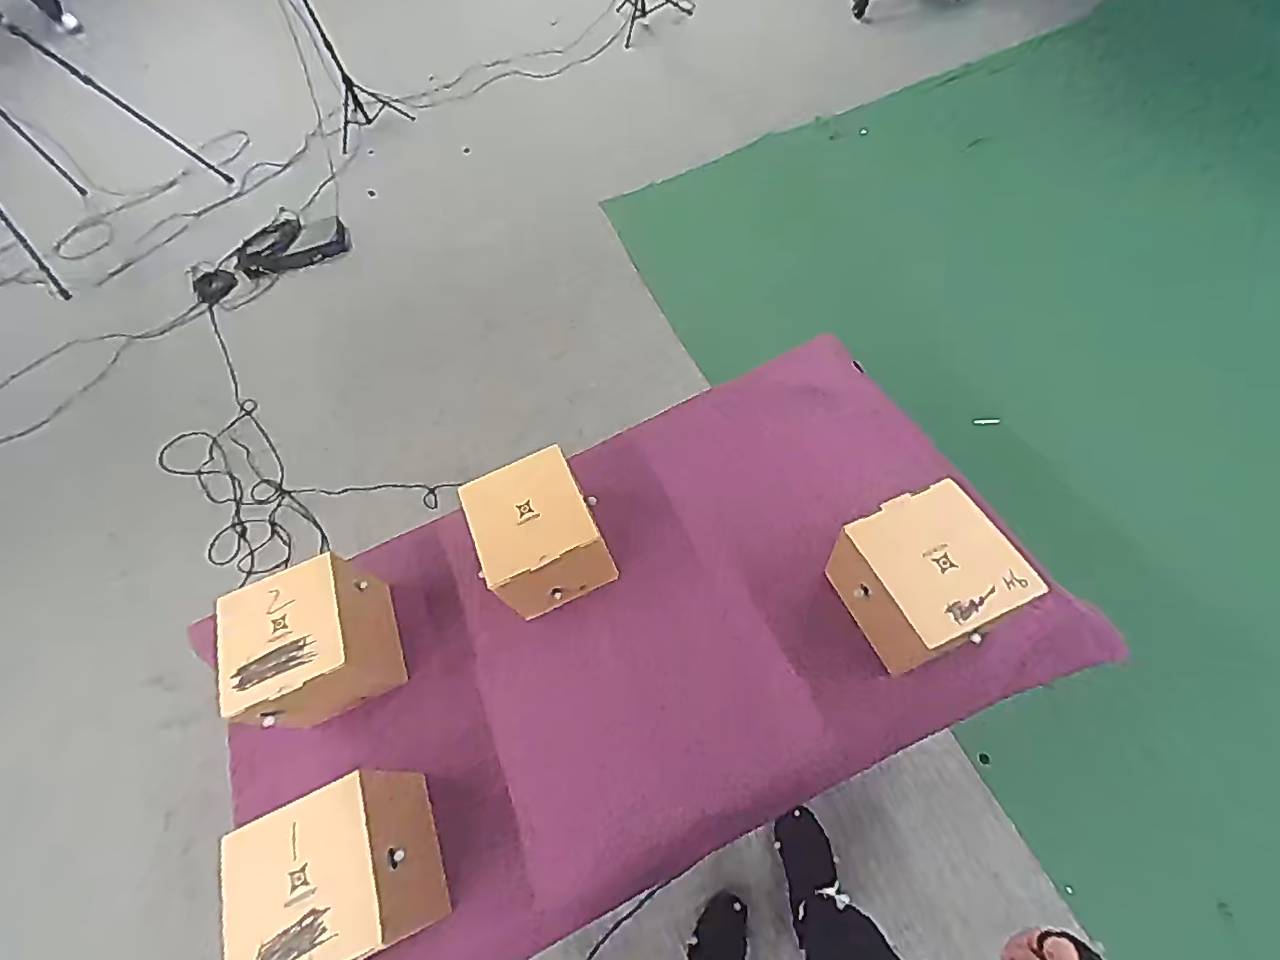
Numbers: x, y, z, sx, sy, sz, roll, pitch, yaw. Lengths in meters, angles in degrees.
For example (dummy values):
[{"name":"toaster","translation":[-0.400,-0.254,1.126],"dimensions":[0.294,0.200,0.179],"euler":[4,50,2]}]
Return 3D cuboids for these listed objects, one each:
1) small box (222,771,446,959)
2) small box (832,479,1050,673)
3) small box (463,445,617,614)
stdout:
[{"name":"small box","translation":[-0.355,0.473,0.648],"dimensions":[0.168,0.176,0.179],"euler":[-24,60,-6]},{"name":"small box","translation":[0.384,0.135,0.734],"dimensions":[0.168,0.176,0.179],"euler":[-24,58,-4]},{"name":"small box","translation":[-0.149,0.082,0.842],"dimensions":[0.168,0.176,0.179],"euler":[-24,62,-7]}]
